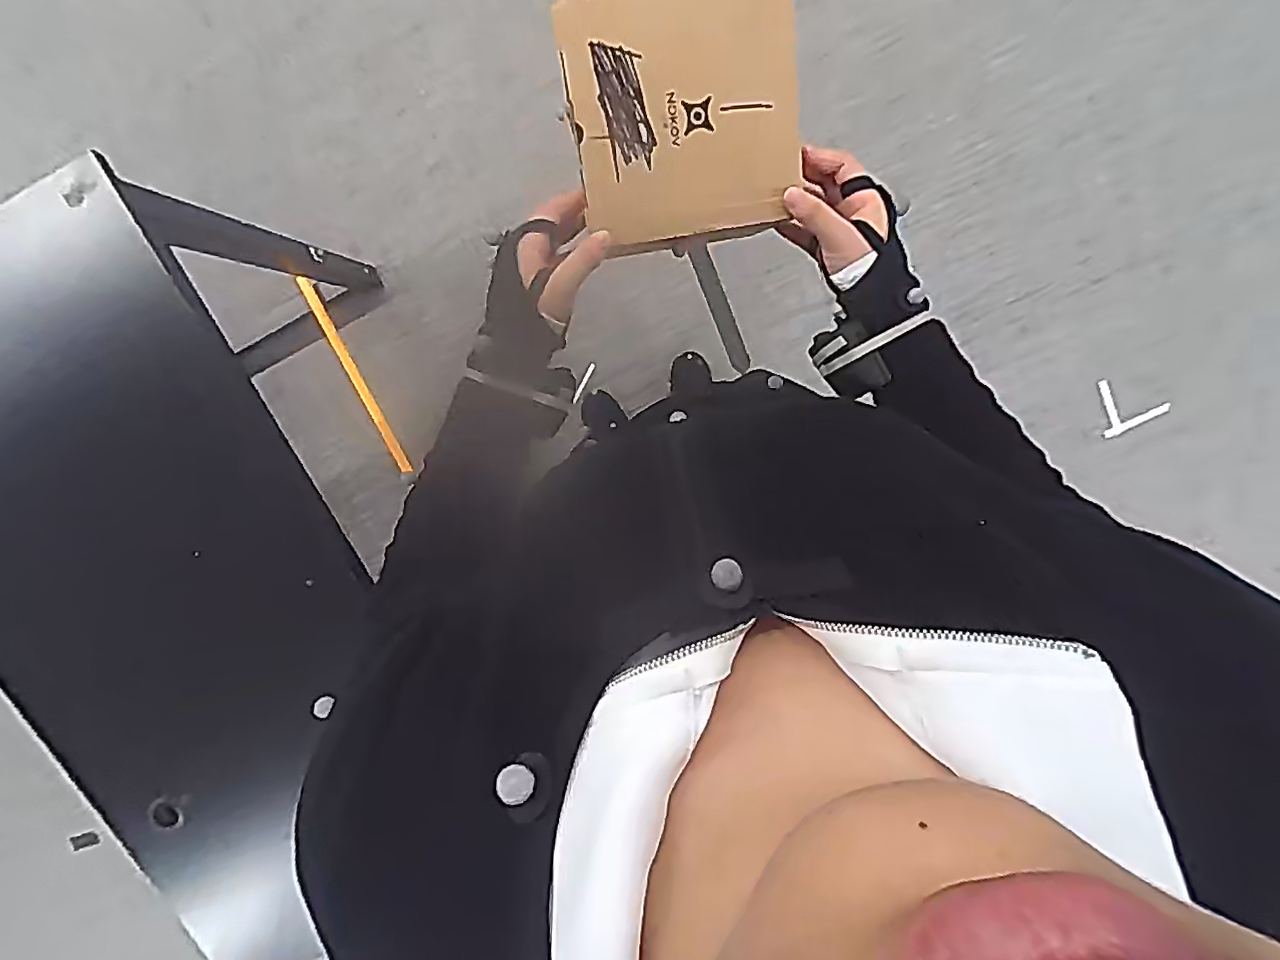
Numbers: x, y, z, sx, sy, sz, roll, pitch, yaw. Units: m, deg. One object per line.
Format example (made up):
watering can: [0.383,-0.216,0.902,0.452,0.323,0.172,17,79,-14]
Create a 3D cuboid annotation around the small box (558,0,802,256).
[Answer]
small box: [0.033,-0.306,0.492,0.179,0.176,0.168,-9,109,-1]
